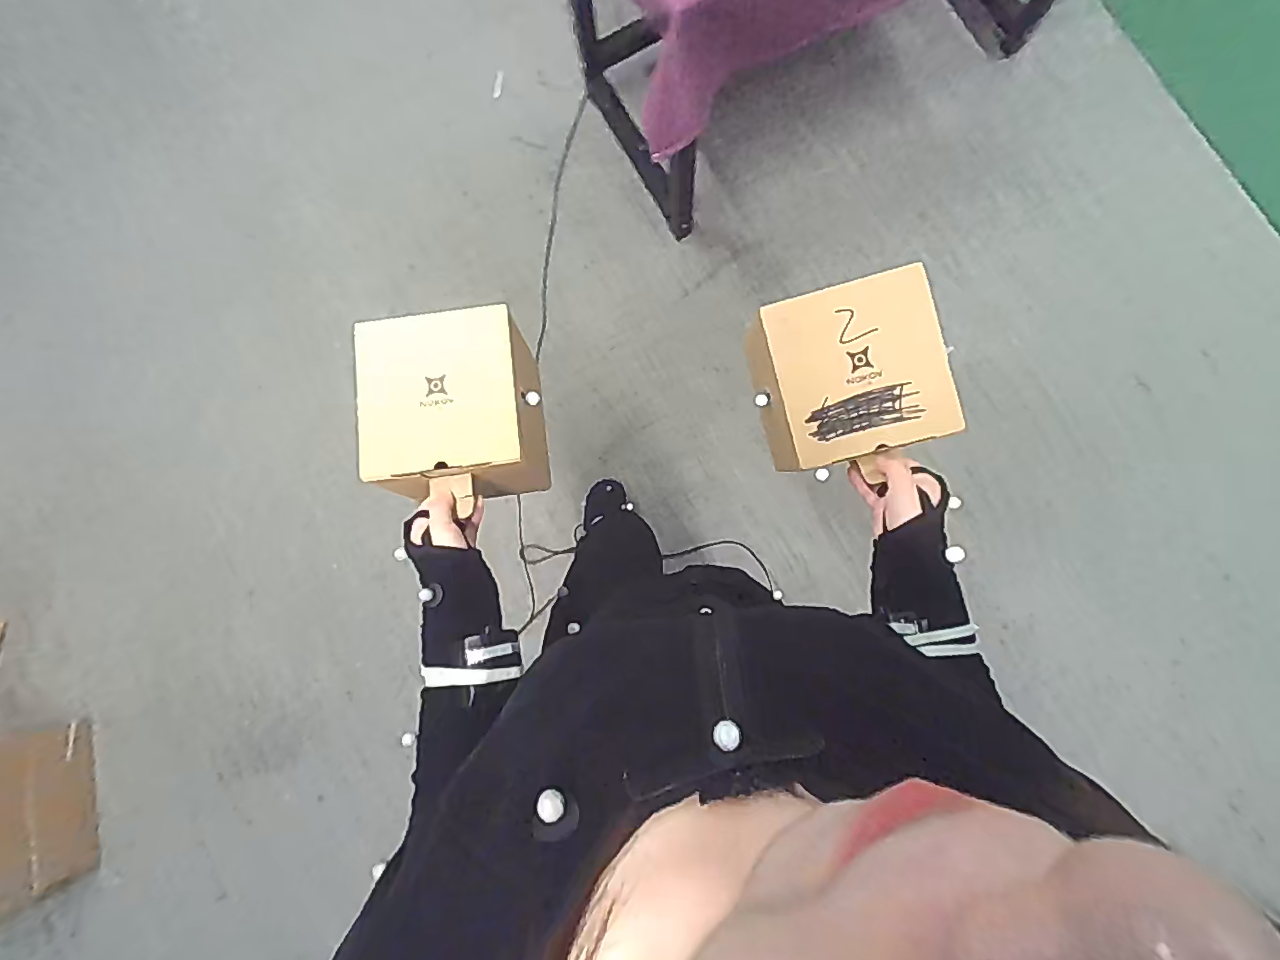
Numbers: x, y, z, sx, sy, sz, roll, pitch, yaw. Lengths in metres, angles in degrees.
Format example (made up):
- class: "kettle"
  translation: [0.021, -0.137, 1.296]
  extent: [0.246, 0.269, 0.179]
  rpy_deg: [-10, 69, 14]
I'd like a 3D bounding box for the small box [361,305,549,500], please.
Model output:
- class: "small box"
  translation: [-0.206, -0.081, 0.638]
  extent: [0.168, 0.176, 0.179]
  rpy_deg: [-6, 80, -1]
